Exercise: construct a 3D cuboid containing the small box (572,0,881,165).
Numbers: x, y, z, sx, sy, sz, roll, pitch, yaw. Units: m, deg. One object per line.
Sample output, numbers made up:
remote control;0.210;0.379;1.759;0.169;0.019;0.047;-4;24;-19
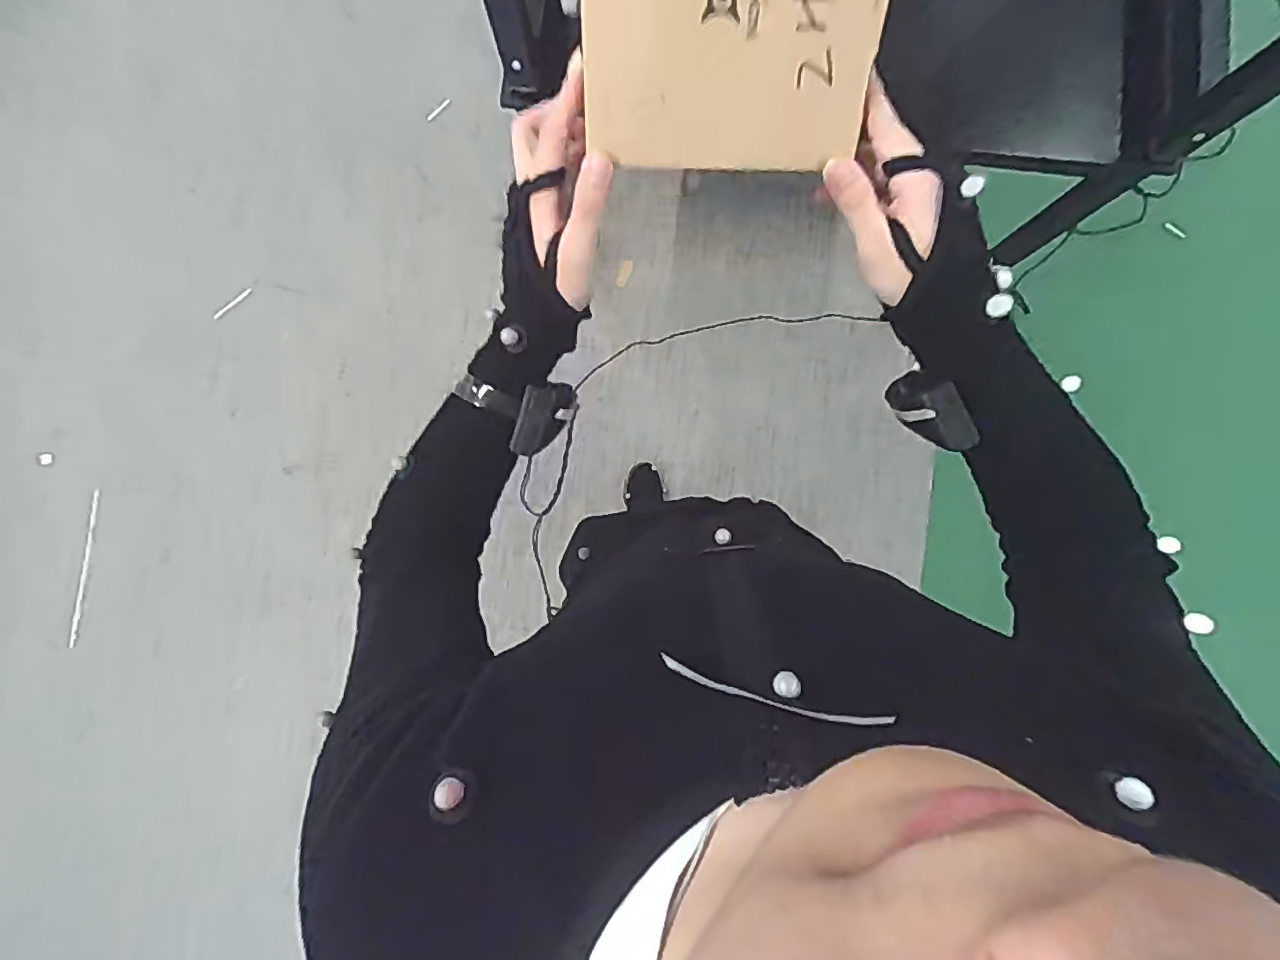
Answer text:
small box;0.047;-0.318;0.364;0.179;0.176;0.168;0;127;-3
